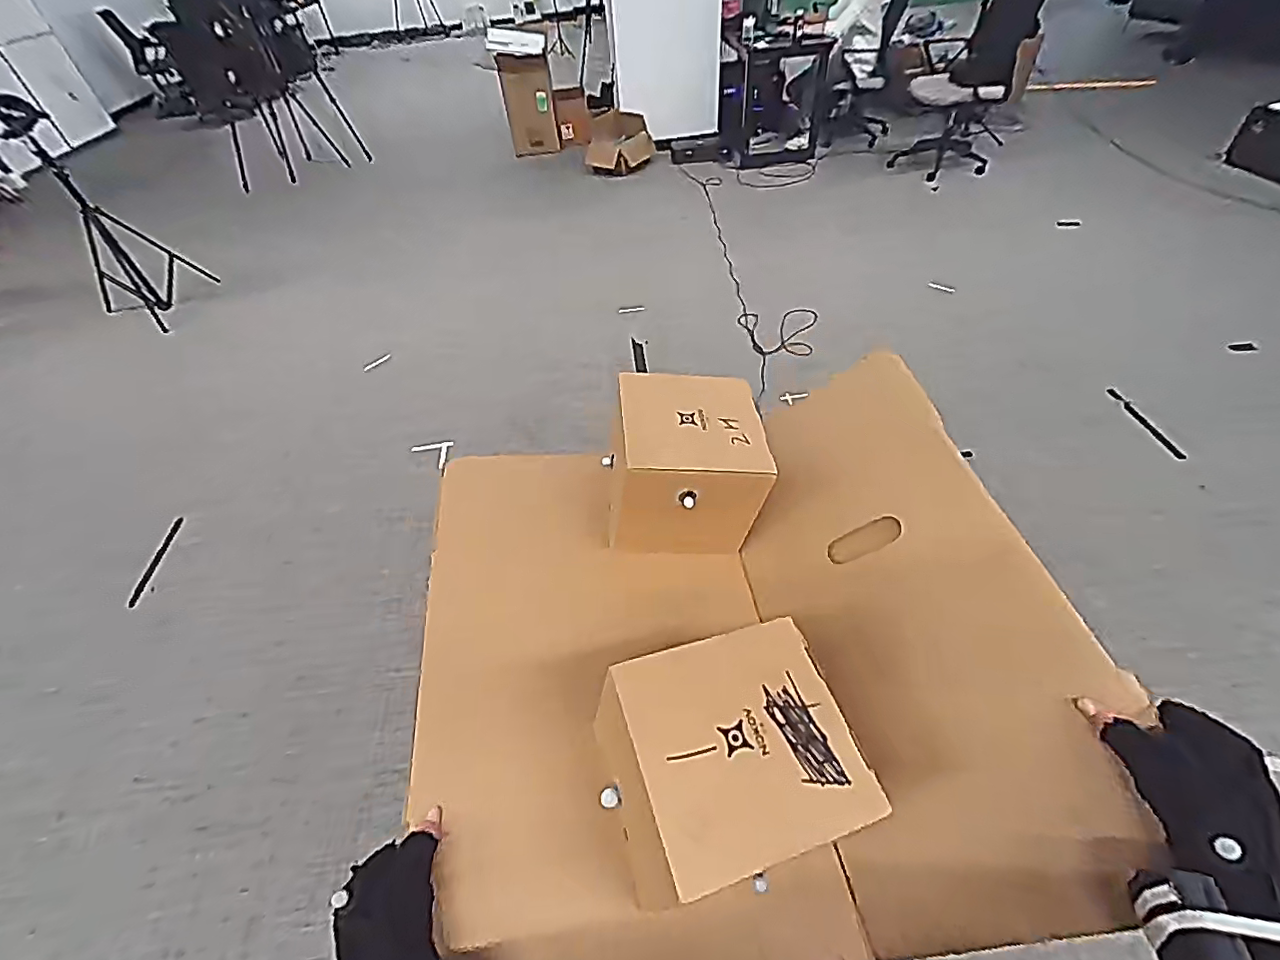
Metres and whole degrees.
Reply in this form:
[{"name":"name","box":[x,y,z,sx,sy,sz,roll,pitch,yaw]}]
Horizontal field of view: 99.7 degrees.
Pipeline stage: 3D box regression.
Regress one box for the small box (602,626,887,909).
[{"name":"small box","box":[0.073,0.259,0.491,0.179,0.176,0.168,-10,53,-17]}]

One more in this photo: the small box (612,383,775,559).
[{"name":"small box","box":[0.055,-0.008,0.716,0.179,0.176,0.168,3,50,-9]}]
